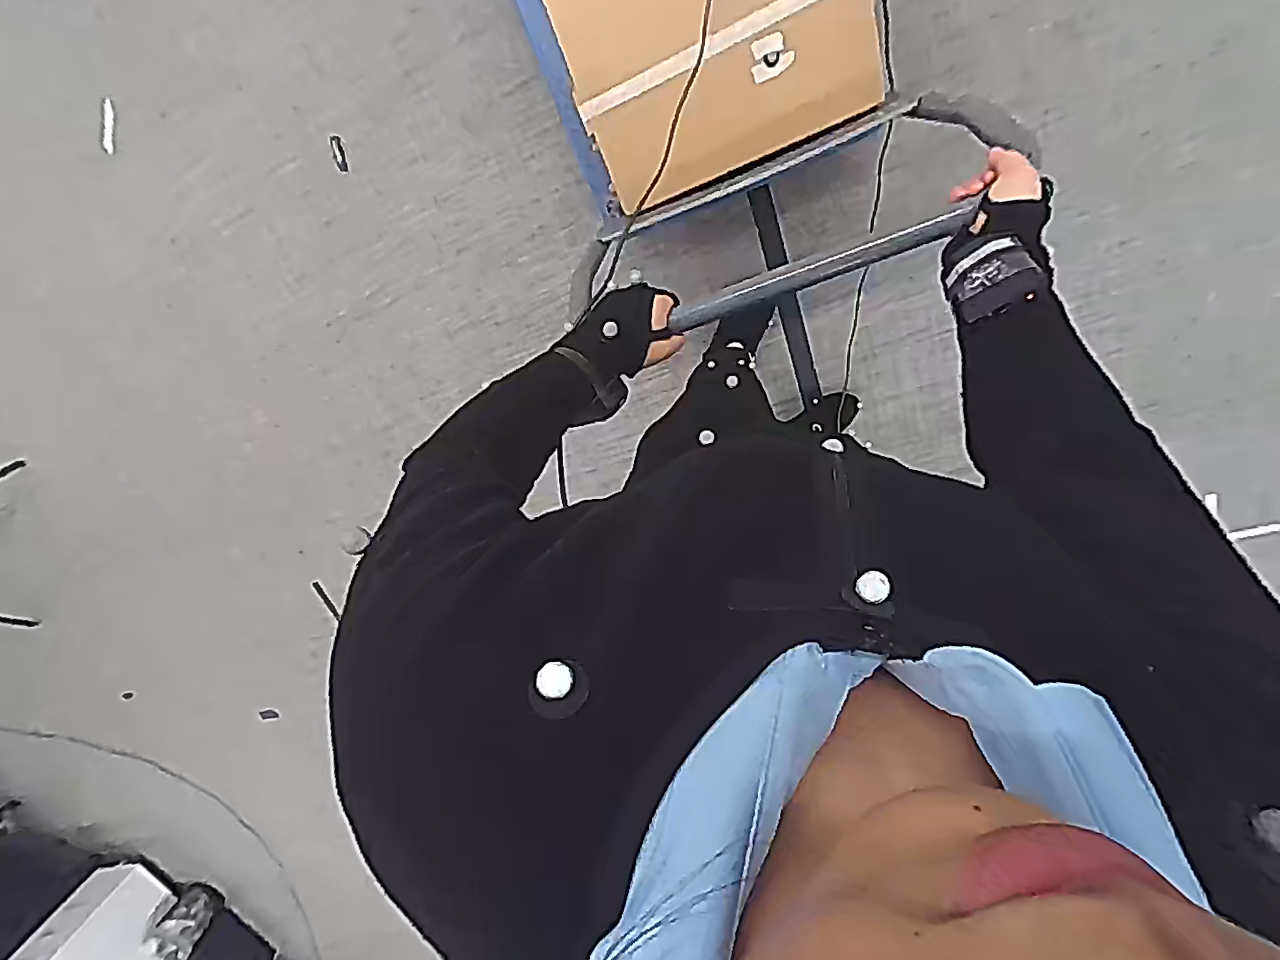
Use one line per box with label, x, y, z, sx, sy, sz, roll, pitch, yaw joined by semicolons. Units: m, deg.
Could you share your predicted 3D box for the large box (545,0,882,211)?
large box;0.117;-0.691;0.878;0.408;0.320;0.320;-17;120;16
